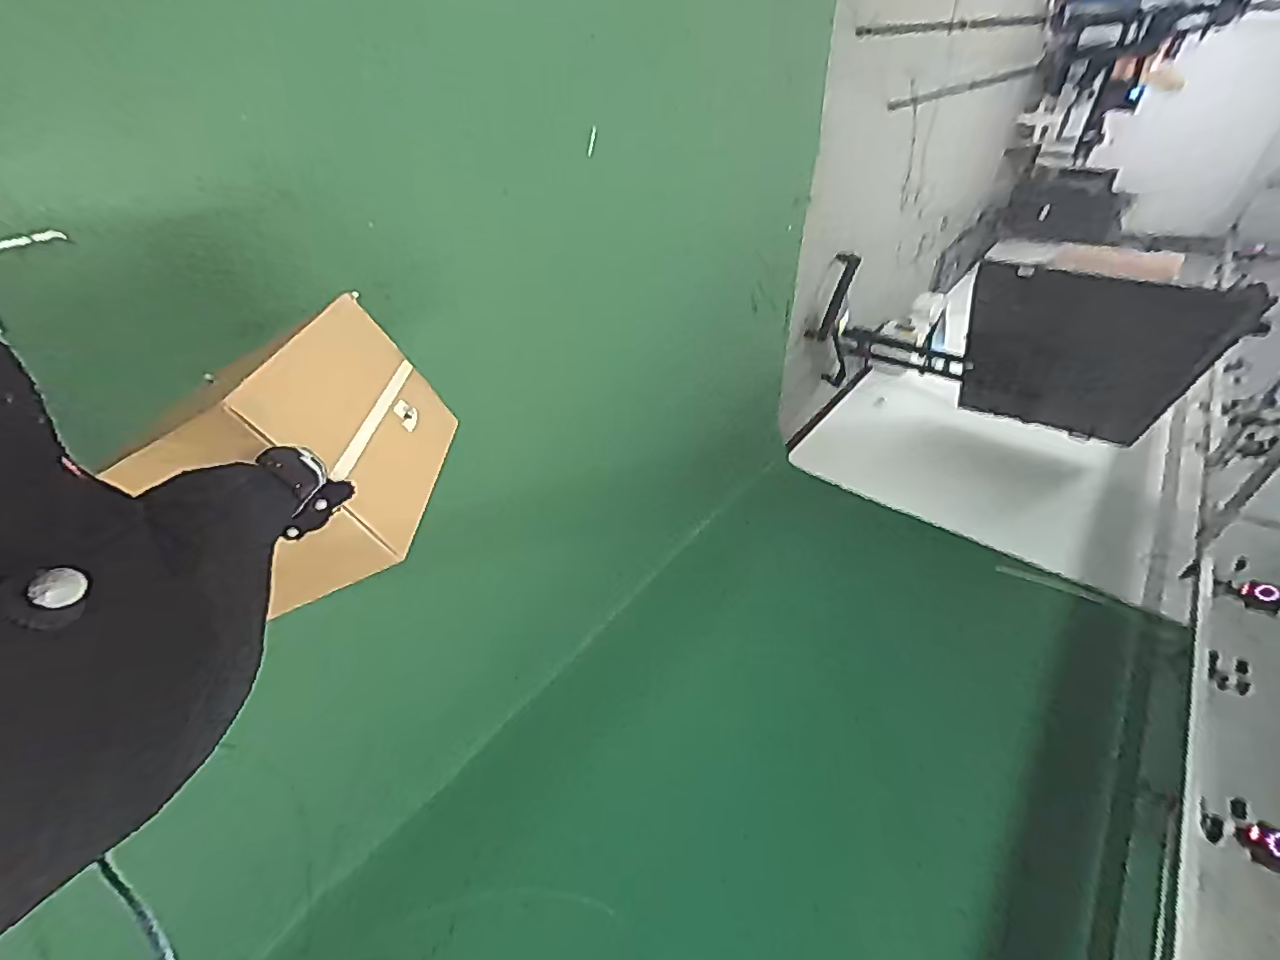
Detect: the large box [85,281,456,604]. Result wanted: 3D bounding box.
[{"bbox_3d":[-0.572,-0.070,0.929,0.320,0.408,0.320,-23,127,13],"label":"large box"}]
